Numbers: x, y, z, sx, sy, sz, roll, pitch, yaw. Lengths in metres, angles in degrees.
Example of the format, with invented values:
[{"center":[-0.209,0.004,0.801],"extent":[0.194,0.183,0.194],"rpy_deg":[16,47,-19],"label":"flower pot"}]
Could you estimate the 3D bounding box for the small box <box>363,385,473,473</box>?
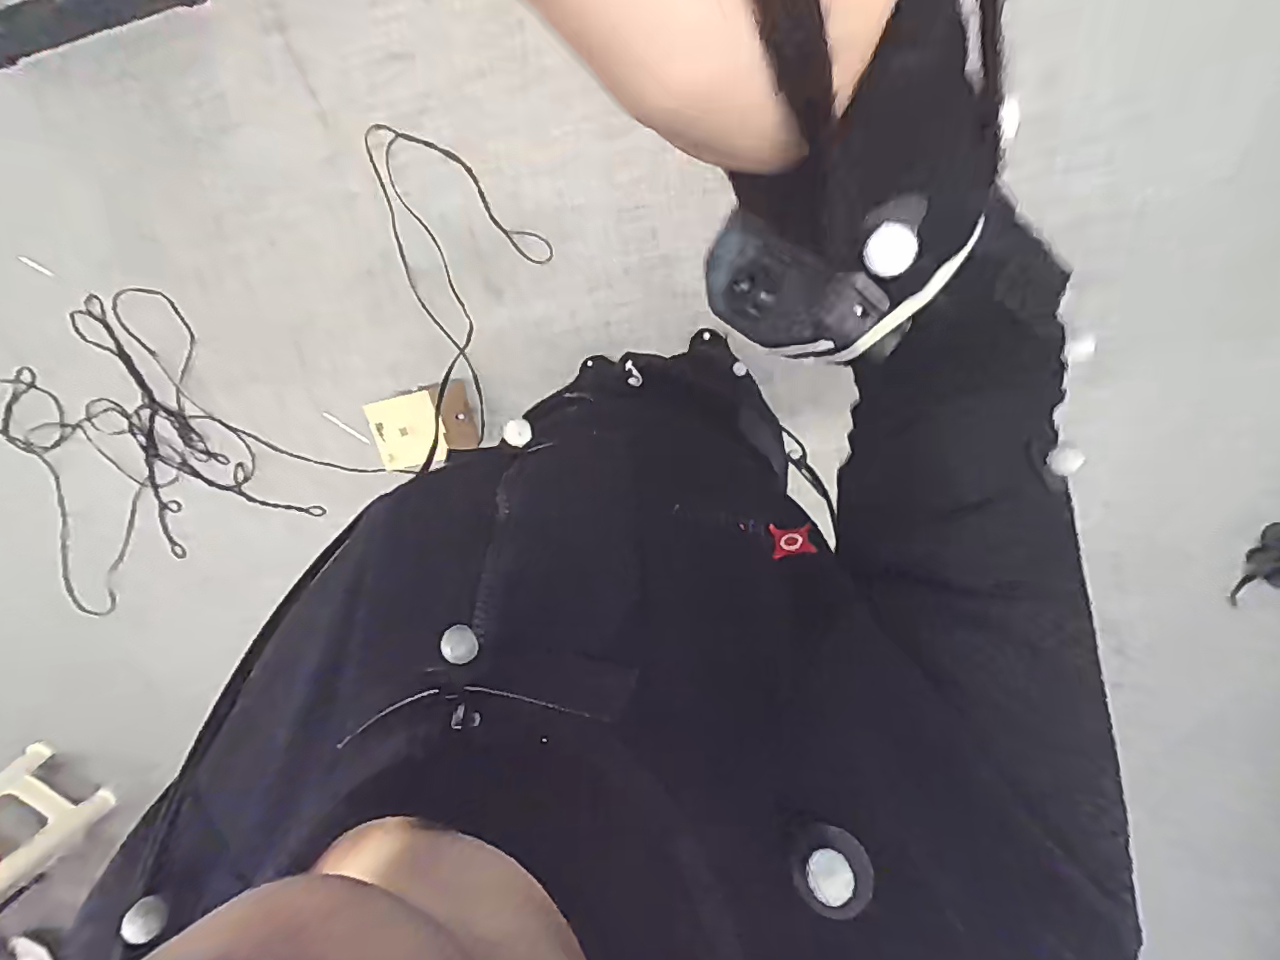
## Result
[{"center":[-0.529,-0.130,1.326],"extent":[0.179,0.176,0.168],"rpy_deg":[-11,105,10],"label":"small box"}]
